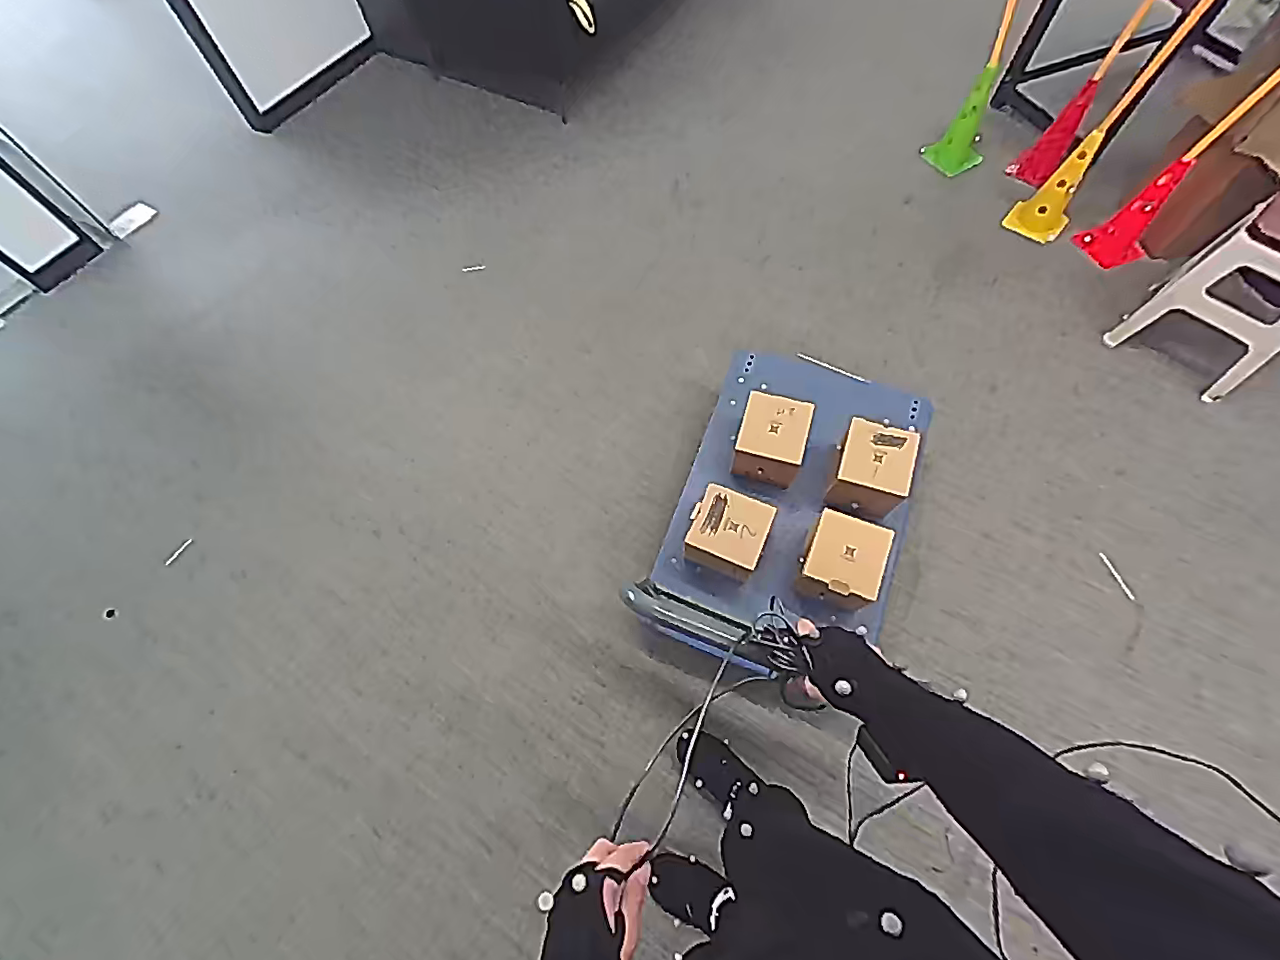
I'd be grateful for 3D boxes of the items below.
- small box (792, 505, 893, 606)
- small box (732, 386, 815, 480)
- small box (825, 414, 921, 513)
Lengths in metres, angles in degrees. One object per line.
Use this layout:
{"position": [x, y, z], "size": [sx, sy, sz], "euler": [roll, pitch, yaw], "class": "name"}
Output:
{"position": [0.480, 0.187, 1.304], "size": [0.168, 0.176, 0.179], "euler": [21, 74, 12], "class": "small box"}
{"position": [0.345, -0.117, 1.424], "size": [0.168, 0.176, 0.179], "euler": [16, 72, 10], "class": "small box"}
{"position": [0.584, -0.038, 1.375], "size": [0.168, 0.176, 0.179], "euler": [18, 74, 12], "class": "small box"}
